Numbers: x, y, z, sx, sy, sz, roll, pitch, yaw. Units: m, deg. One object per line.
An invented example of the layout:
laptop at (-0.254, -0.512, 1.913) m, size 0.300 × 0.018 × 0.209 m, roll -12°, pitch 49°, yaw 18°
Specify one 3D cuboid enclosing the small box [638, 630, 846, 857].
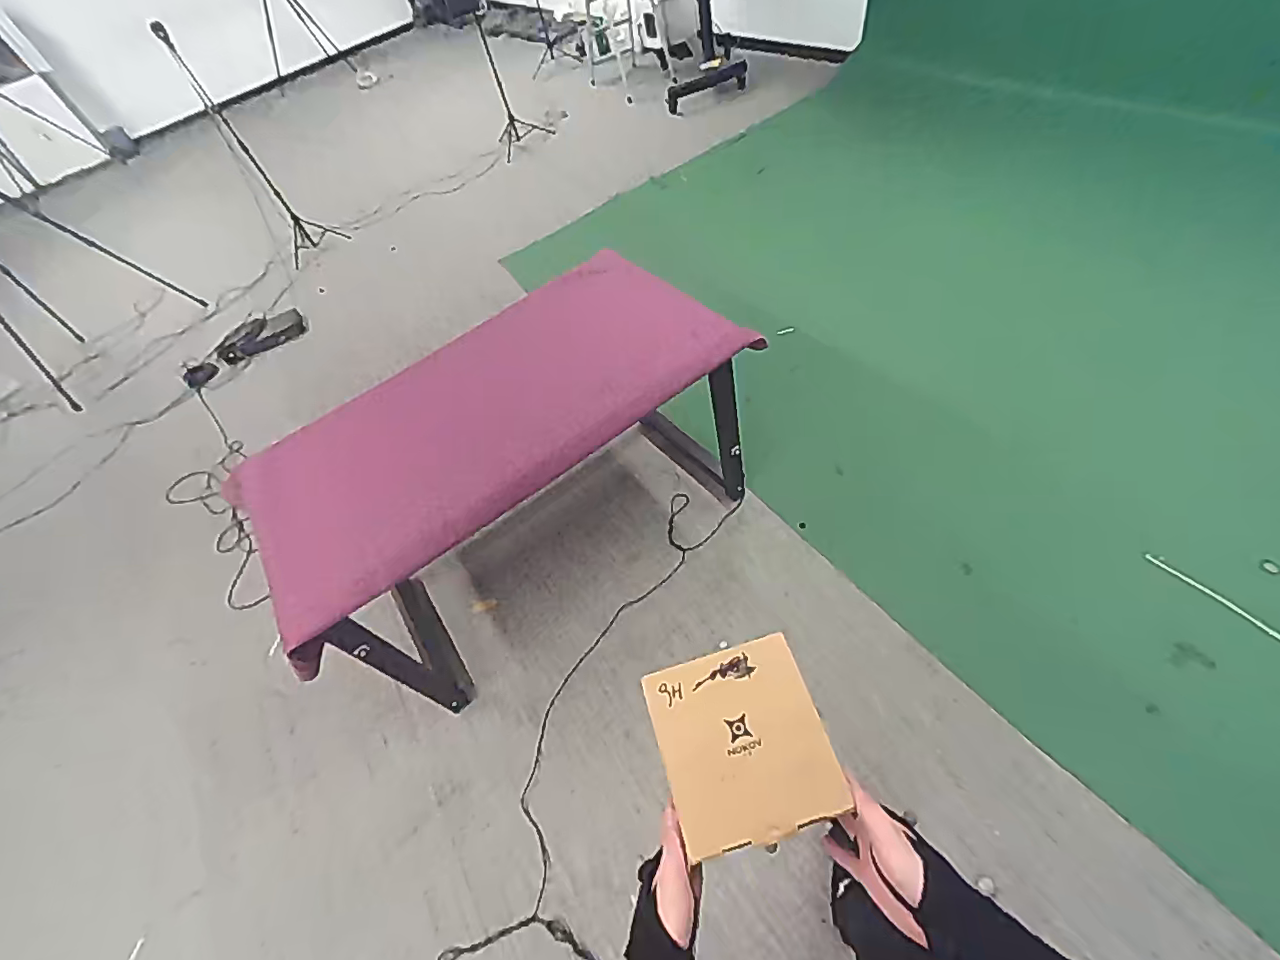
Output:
small box at (0.106, 0.295, 0.616) m, size 0.168 × 0.176 × 0.179 m, roll -16°, pitch 59°, yaw -3°
